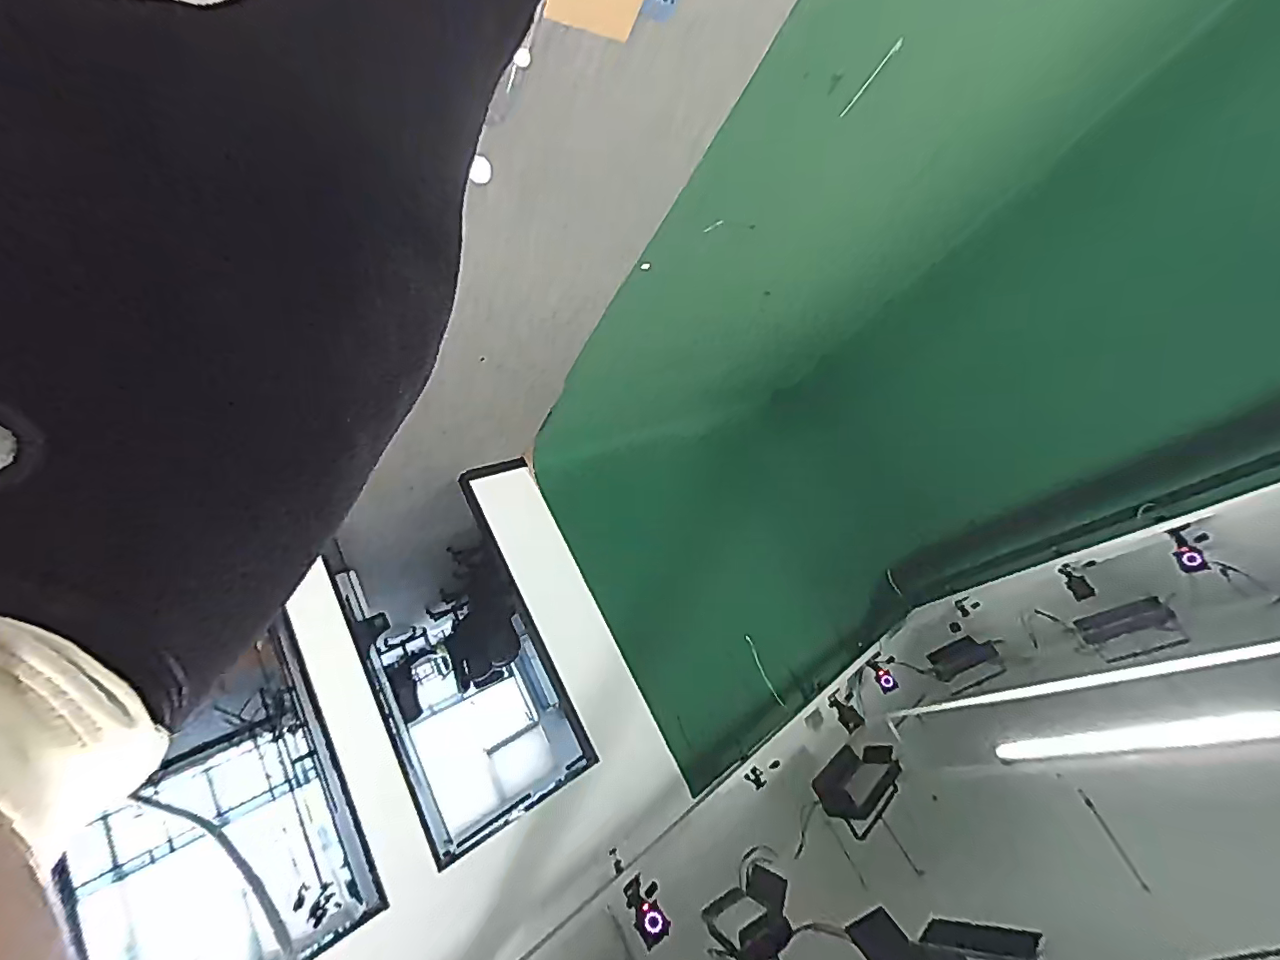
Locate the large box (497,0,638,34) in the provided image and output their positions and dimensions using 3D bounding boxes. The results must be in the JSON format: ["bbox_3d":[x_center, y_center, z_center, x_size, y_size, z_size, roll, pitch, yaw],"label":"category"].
[{"bbox_3d":[-0.188,-1.025,0.874,0.408,0.320,0.320,-19,164,-38],"label":"large box"}]
